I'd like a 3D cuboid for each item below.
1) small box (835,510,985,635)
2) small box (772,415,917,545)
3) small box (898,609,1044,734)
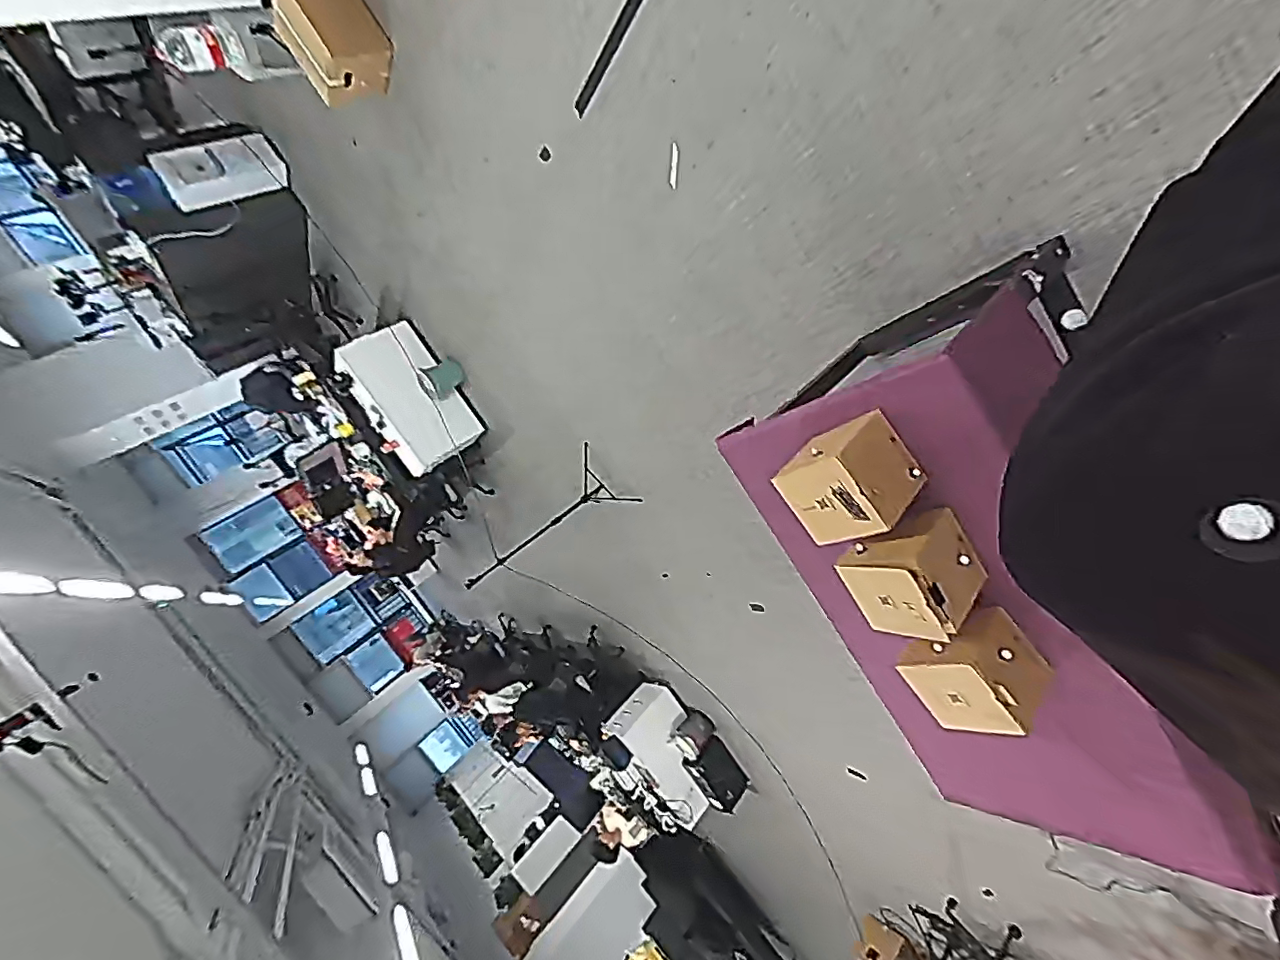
[{"bbox_3d":[0.527,0.177,1.056,0.168,0.176,0.179,56,149,-9],"label":"small box"},{"bbox_3d":[0.398,0.000,1.037,0.168,0.176,0.179,53,150,-4],"label":"small box"},{"bbox_3d":[0.669,0.377,1.085,0.168,0.176,0.179,52,150,0],"label":"small box"}]
